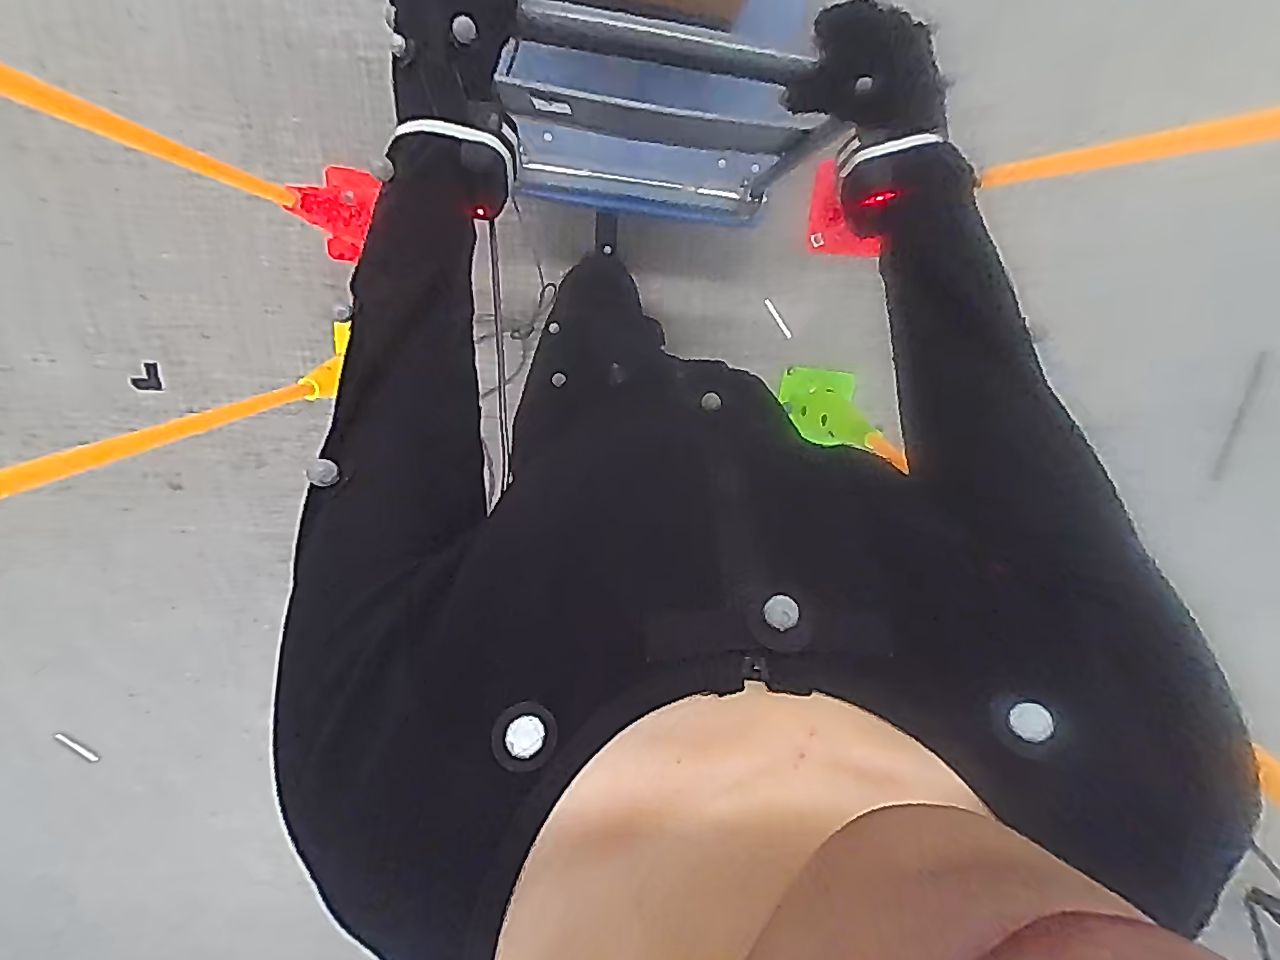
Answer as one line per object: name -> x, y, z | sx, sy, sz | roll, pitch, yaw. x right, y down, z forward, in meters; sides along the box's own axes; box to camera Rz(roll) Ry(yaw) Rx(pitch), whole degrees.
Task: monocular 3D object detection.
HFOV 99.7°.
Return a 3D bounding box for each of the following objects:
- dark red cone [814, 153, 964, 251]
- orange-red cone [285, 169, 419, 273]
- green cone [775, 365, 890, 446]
dark red cone -> 0.527, -0.596, 1.120 | 0.201, 0.394, 0.202 | 0, 110, -6
orange-red cone -> -0.605, -0.543, 1.092 | 0.198, 0.360, 0.199 | 8, 108, -7
green cone -> 0.485, -0.146, 1.297 | 0.202, 0.368, 0.200 | 4, 109, -6
